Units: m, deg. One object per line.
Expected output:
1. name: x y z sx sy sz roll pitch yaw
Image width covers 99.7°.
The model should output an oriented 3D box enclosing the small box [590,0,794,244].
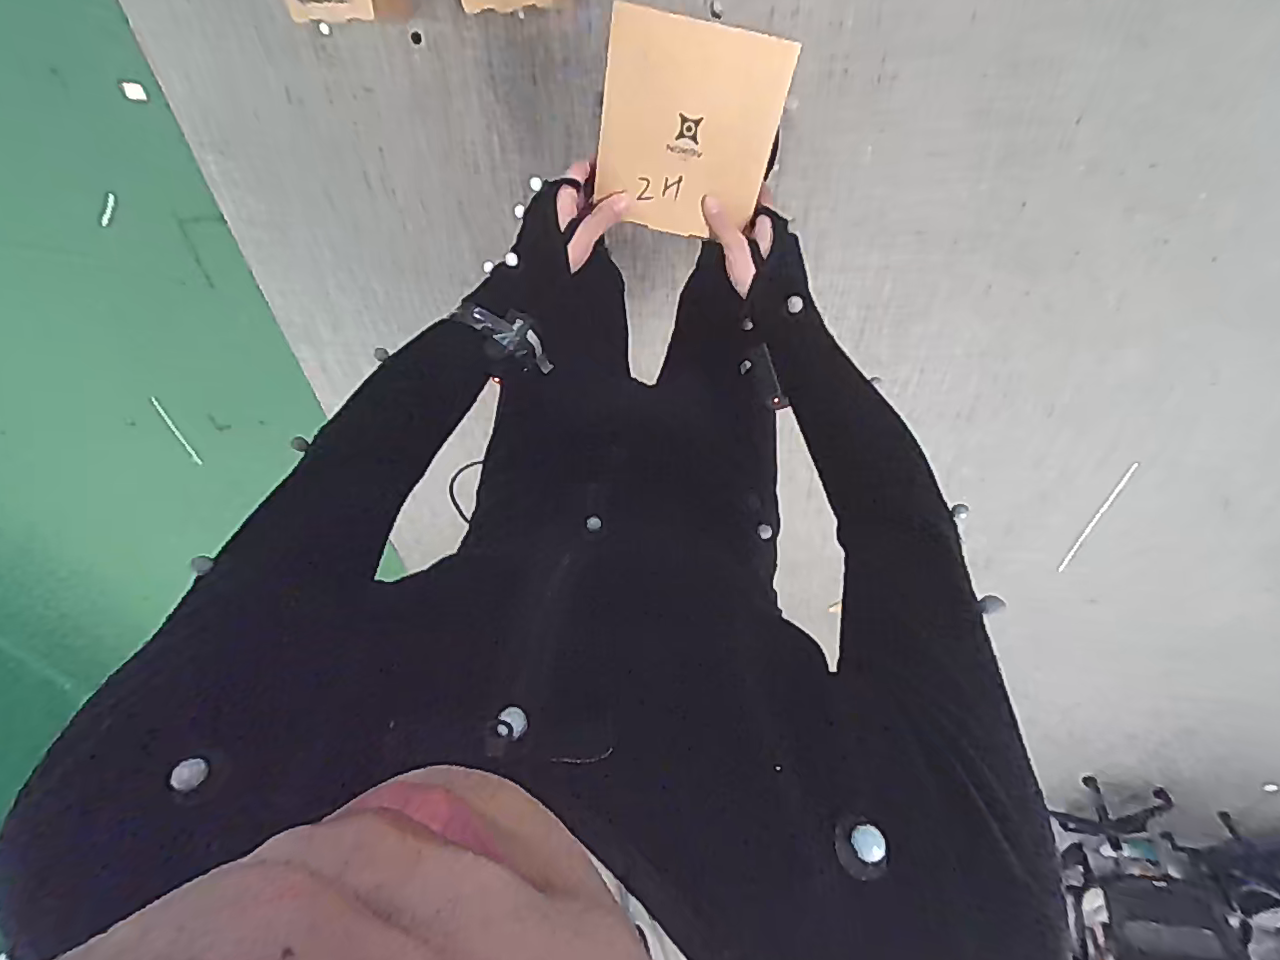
1. small box: 0.048 -0.384 0.578 0.168 0.176 0.179 11 133 -2

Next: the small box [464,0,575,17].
1. small box: -0.219 -0.934 0.946 0.168 0.176 0.179 2 133 9
